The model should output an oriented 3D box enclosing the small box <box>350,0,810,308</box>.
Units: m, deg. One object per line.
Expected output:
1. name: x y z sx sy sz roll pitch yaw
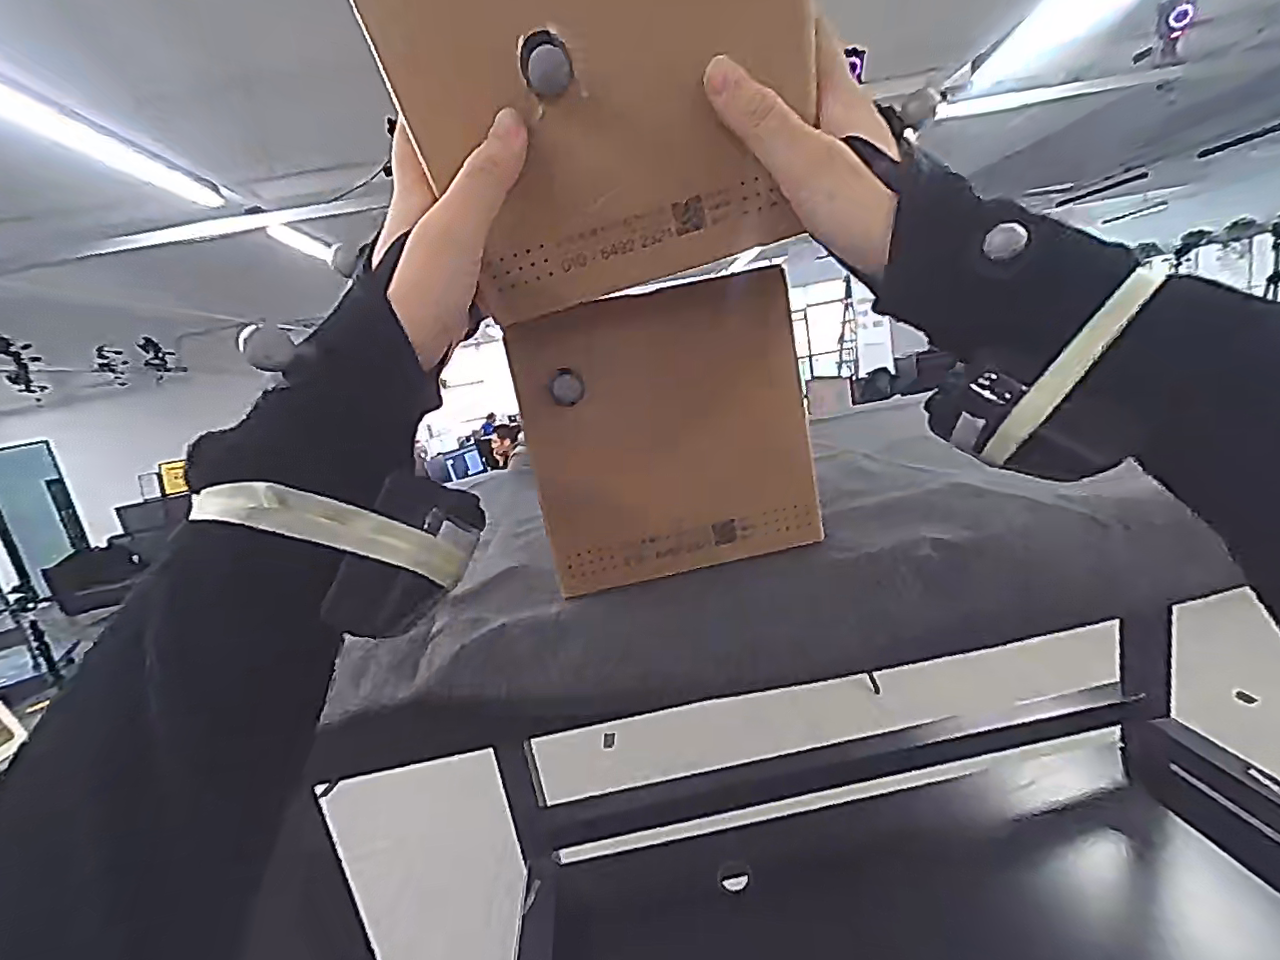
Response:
1. small box: -0.022 -0.207 0.280 0.168 0.176 0.179 -16 37 3
